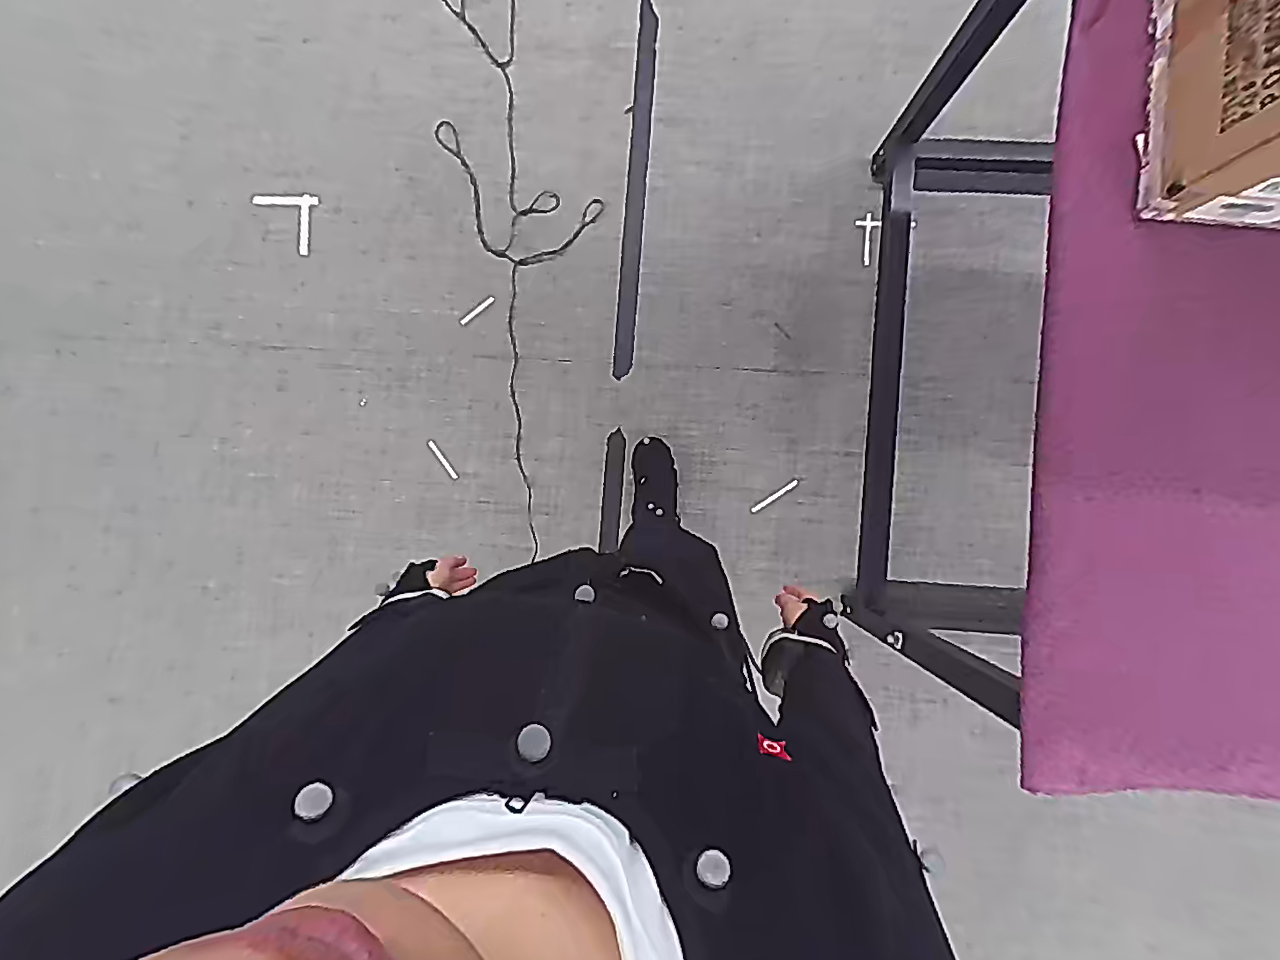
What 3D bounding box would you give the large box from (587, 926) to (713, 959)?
[{"bbox_3d":[0.017,1.333,1.215,0.320,0.320,0.408,2,88,0],"label":"large box"}]
